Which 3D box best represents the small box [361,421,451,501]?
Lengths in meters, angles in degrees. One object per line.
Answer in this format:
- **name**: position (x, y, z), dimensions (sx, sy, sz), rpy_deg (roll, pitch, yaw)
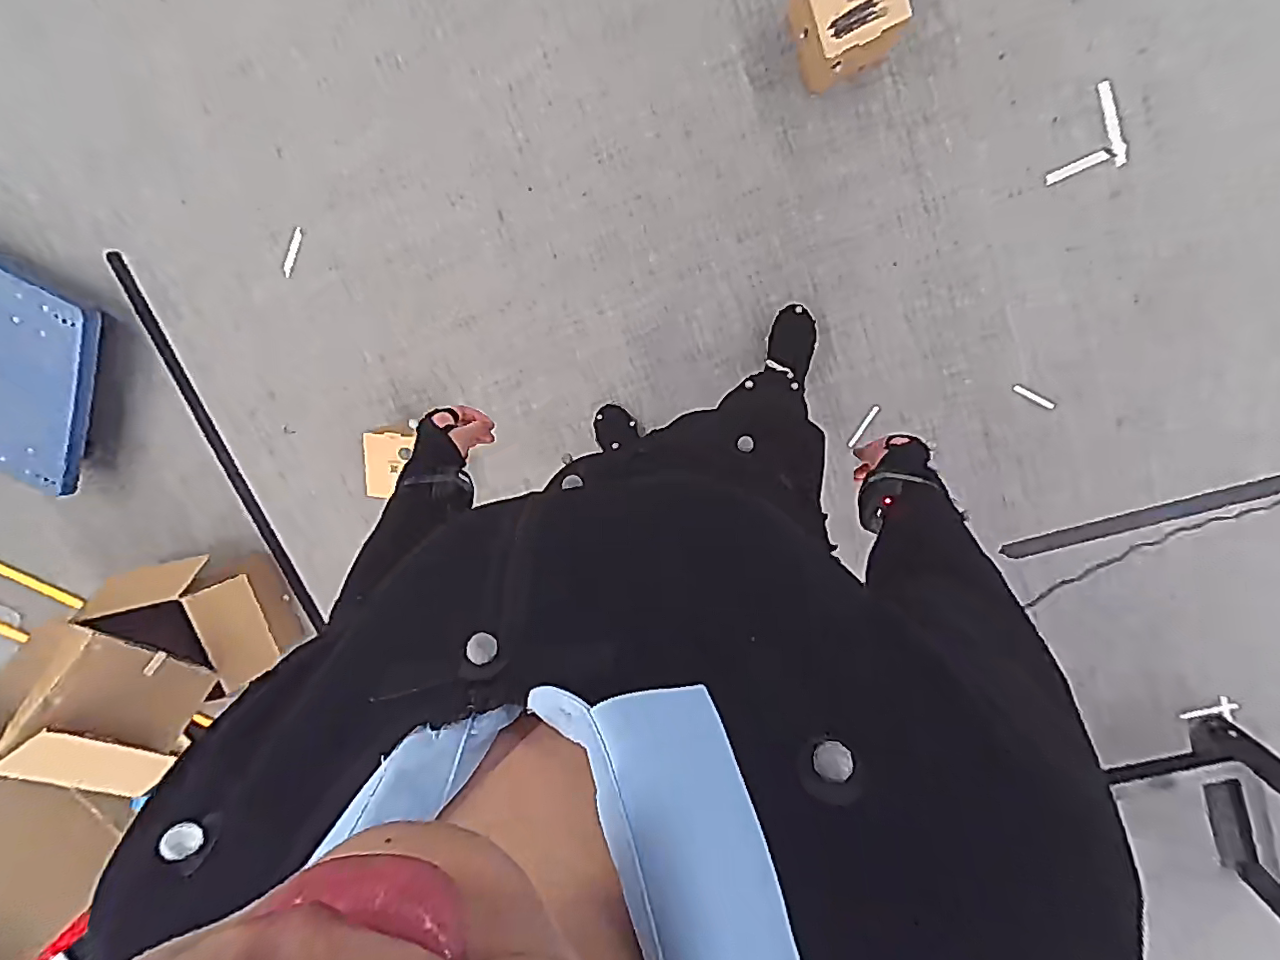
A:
- **small box**: position (-0.634, -0.056, 1.482), dimensions (0.168, 0.176, 0.179), rpy_deg (5, 105, 6)
